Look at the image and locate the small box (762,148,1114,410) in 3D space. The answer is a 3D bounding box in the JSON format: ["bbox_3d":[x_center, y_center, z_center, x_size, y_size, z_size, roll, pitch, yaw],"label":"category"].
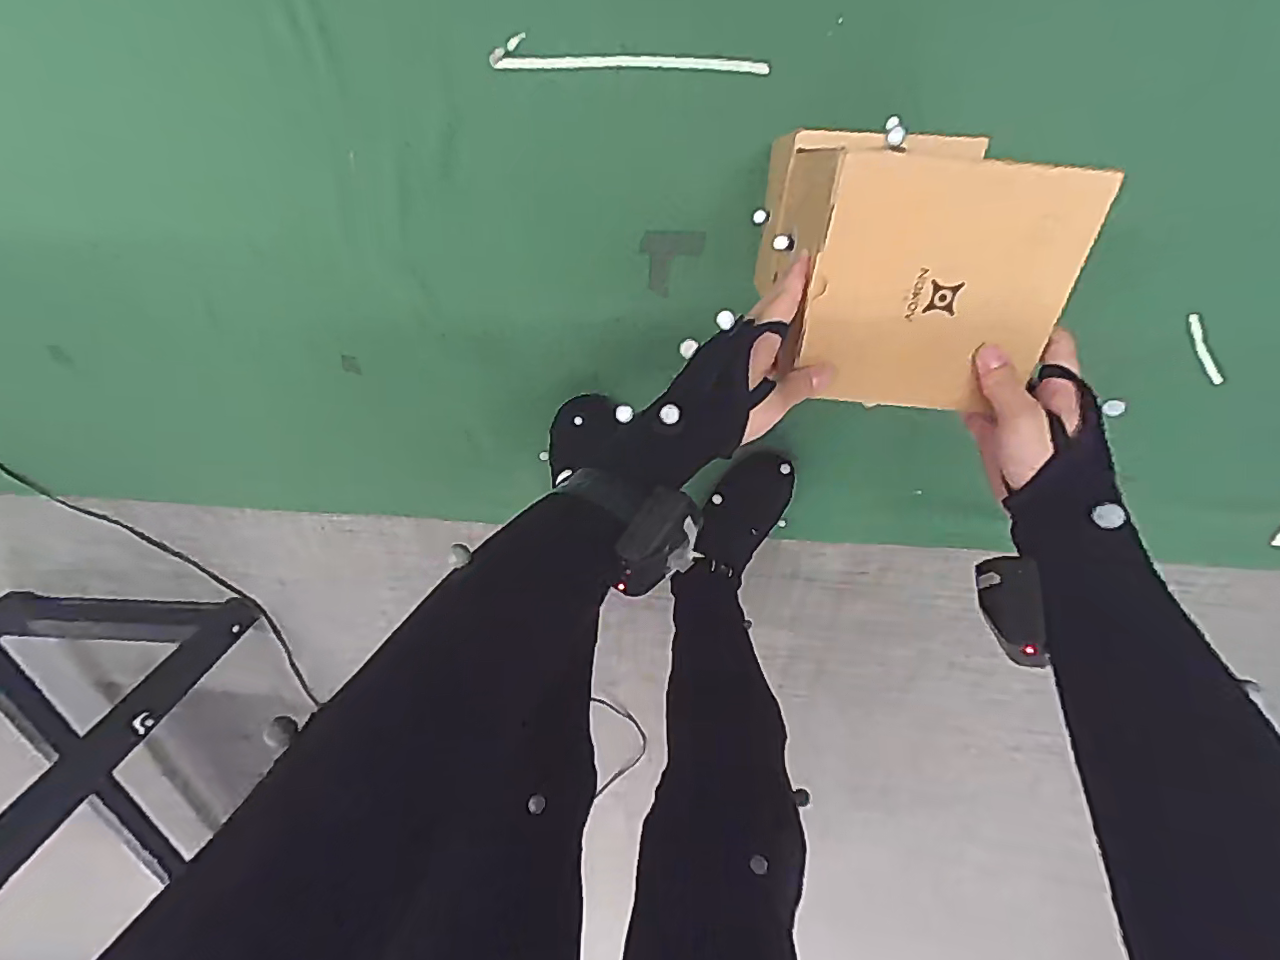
[{"bbox_3d":[0.210,-0.172,0.446,0.179,0.176,0.168,5,121,2],"label":"small box"}]

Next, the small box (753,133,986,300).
[{"bbox_3d":[0.233,-0.285,0.605,0.179,0.176,0.168,5,120,3],"label":"small box"}]
